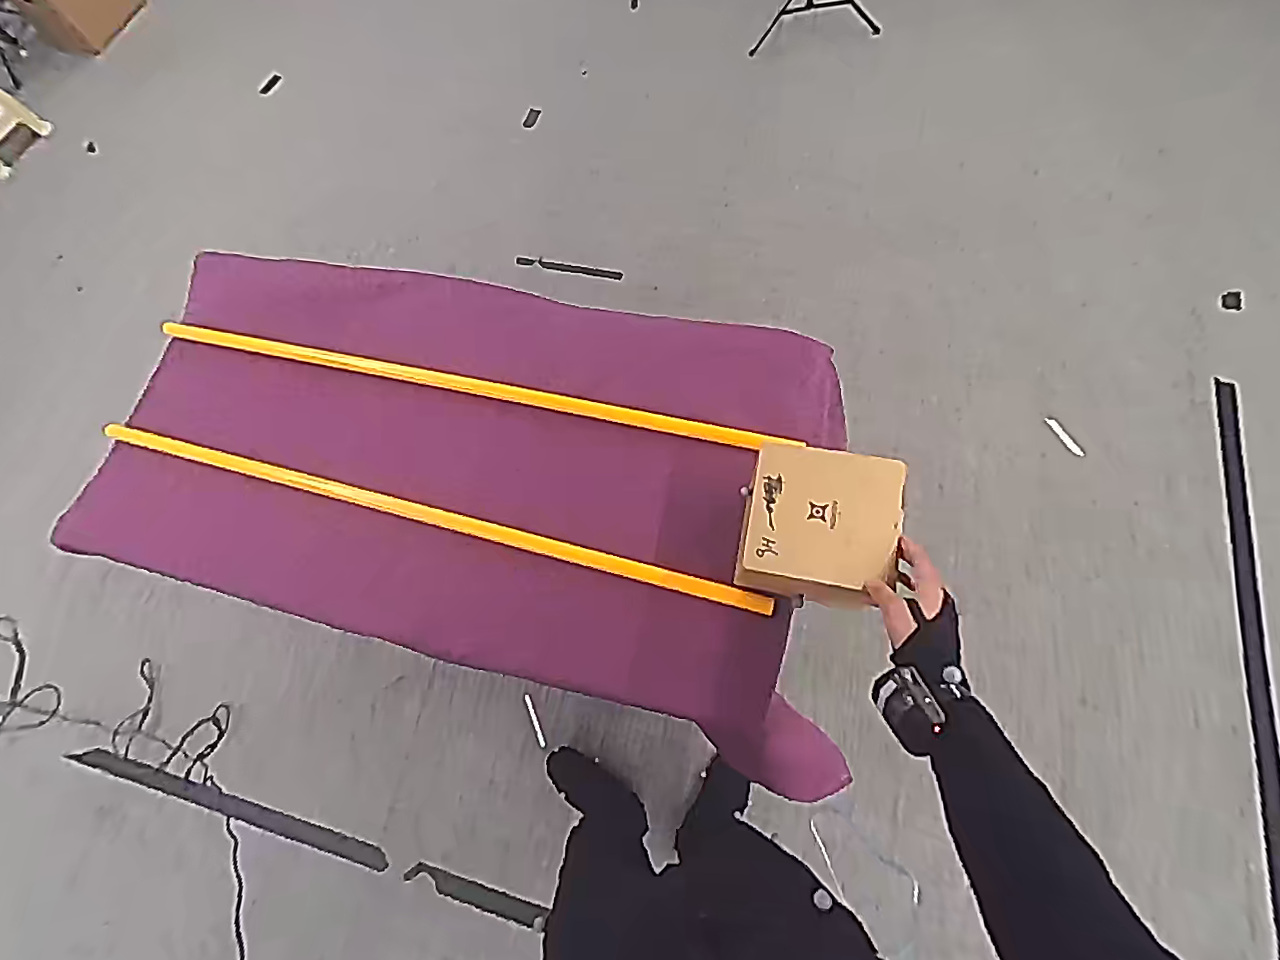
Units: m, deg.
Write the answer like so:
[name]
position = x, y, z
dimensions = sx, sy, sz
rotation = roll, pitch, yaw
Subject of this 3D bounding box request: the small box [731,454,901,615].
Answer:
[small box]
position = 0.225, 0.081, 0.725
dimensions = 0.179, 0.176, 0.168
rotation = 10, 74, 10
